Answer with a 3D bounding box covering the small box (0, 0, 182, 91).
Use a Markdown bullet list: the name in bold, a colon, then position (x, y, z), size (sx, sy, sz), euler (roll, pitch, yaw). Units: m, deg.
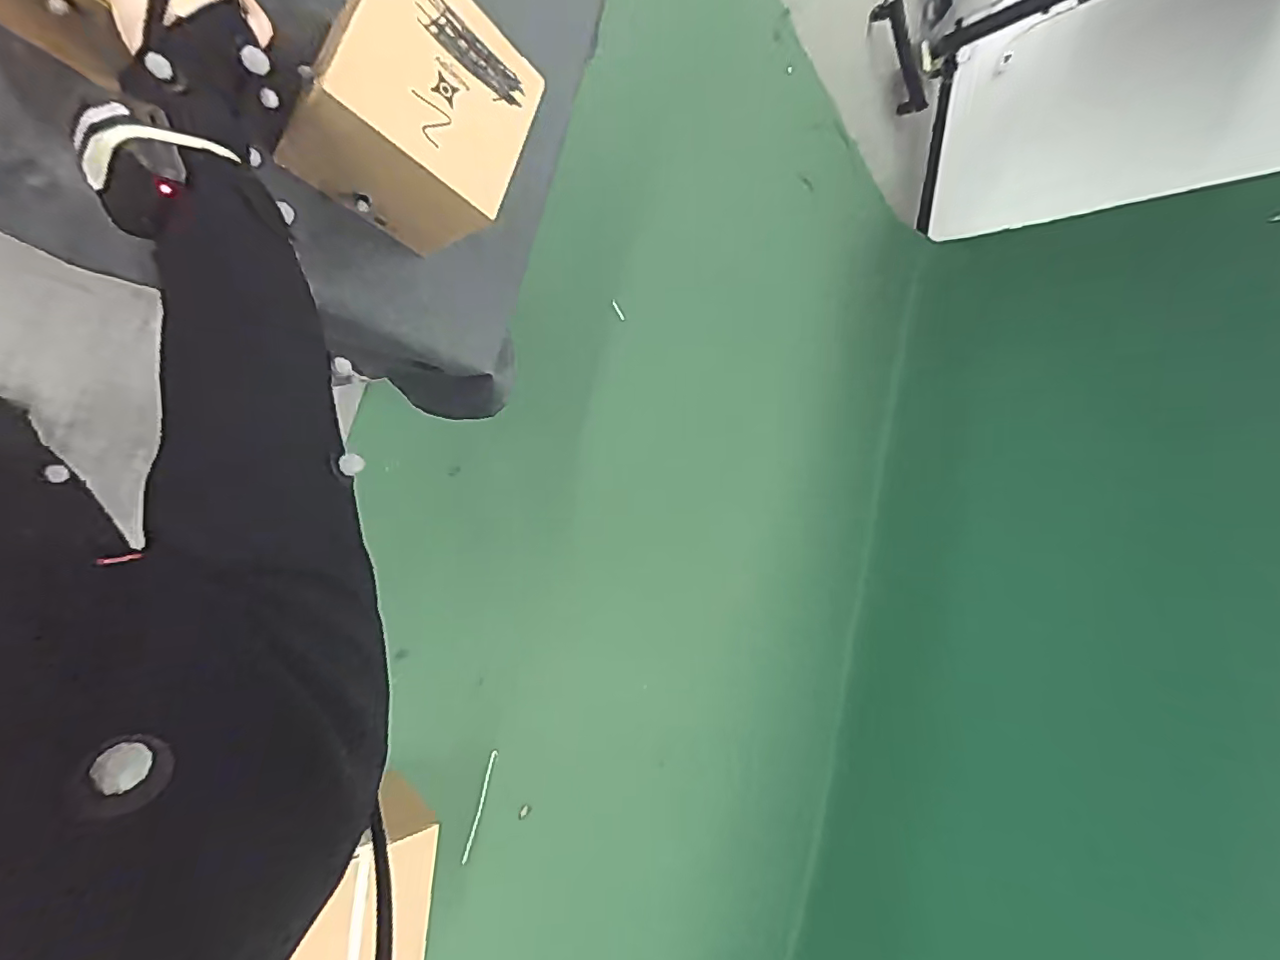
- **small box**: position (-0.411, -0.406, 0.351), size (0.179, 0.176, 0.168), euler (24, 83, -45)
